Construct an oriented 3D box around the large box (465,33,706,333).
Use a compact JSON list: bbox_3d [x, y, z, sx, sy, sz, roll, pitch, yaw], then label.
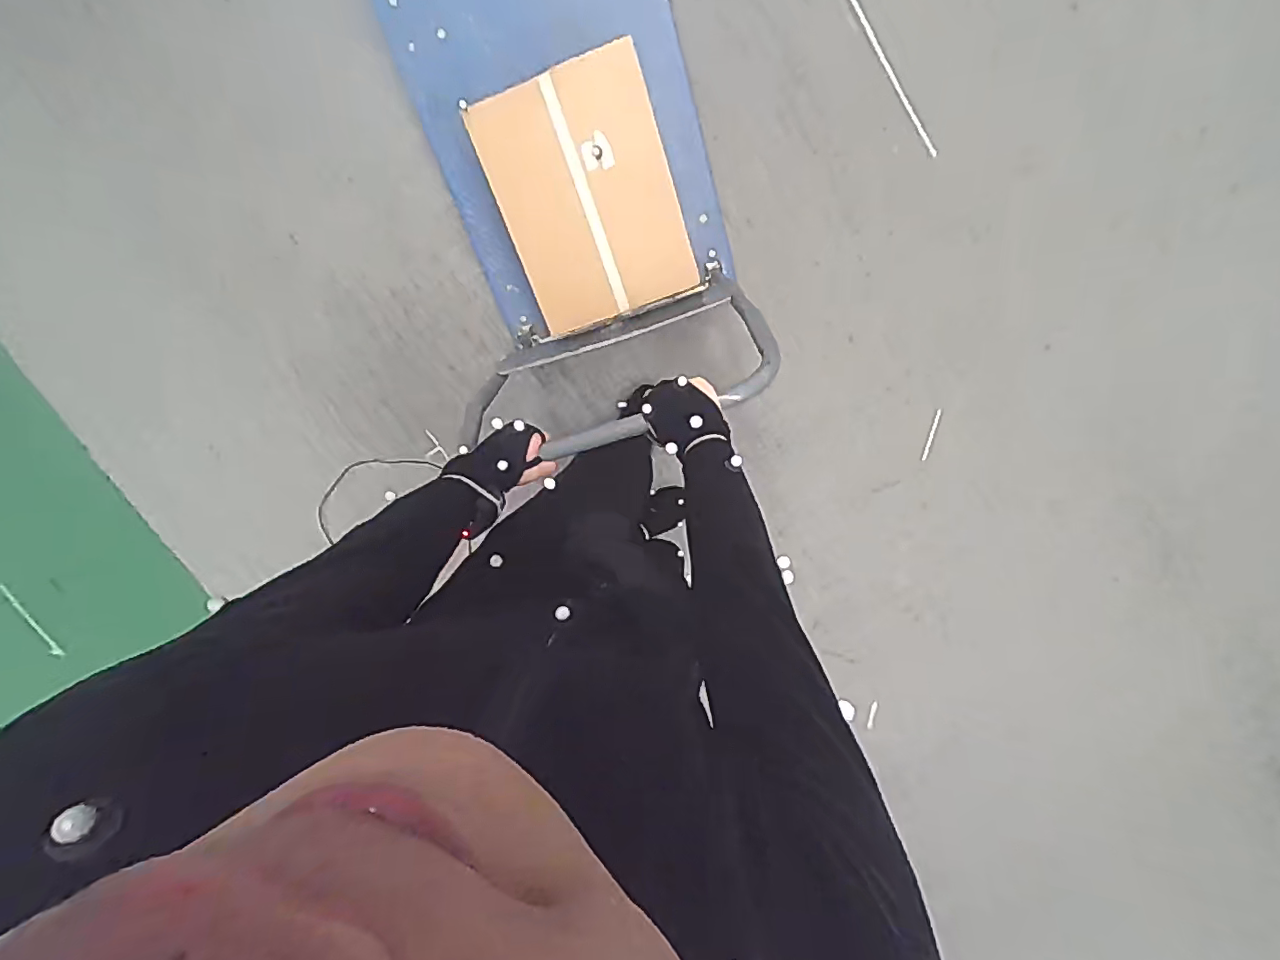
[{"bbox_3d":[-0.079,-0.563,1.096,0.320,0.320,0.408,-17,113,9],"label":"large box"}]
